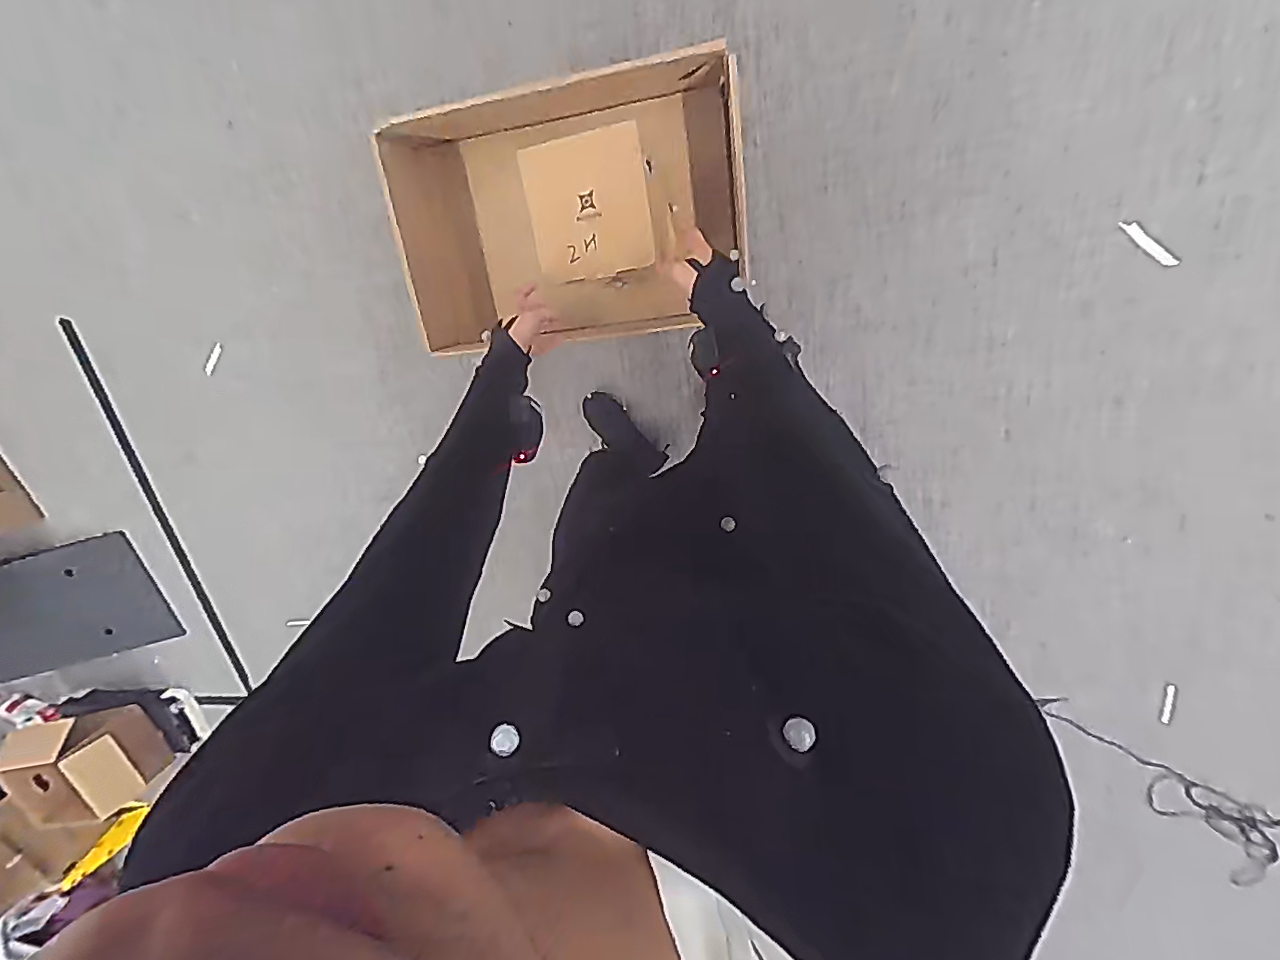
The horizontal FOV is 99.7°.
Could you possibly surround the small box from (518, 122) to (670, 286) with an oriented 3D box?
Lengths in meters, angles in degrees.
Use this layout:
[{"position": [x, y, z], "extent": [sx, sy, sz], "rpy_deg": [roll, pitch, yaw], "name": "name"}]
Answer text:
[{"position": [-0.056, -0.388, 0.793], "extent": [0.168, 0.176, 0.179], "rpy_deg": [-5, 110, 14], "name": "small box"}]
